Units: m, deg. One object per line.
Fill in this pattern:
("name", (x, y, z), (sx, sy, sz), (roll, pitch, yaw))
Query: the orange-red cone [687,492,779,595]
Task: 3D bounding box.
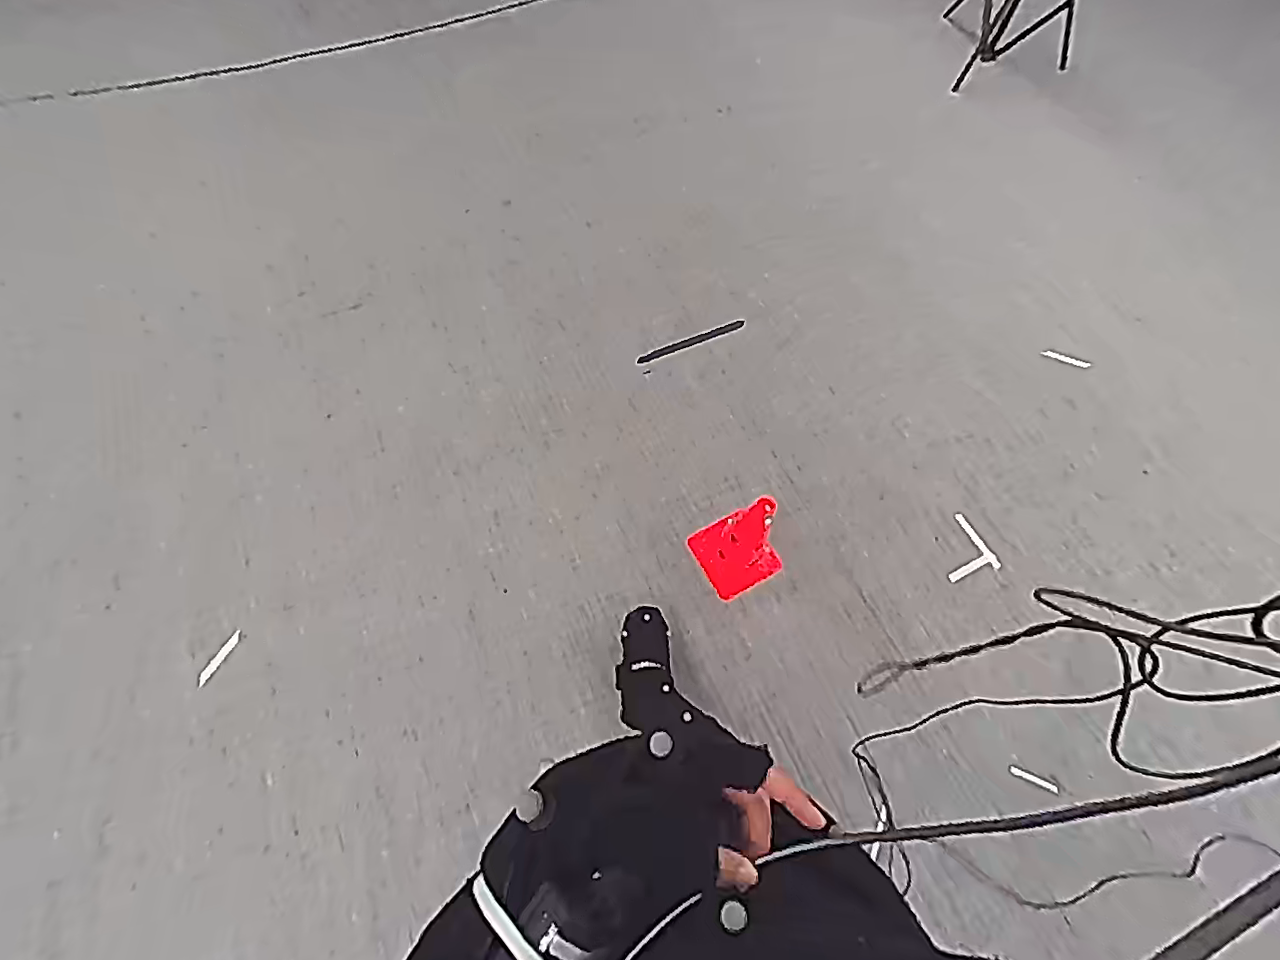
("orange-red cone", (0.250, 0.116, 1.288), (0.199, 0.360, 0.198), (-26, 68, -12))
